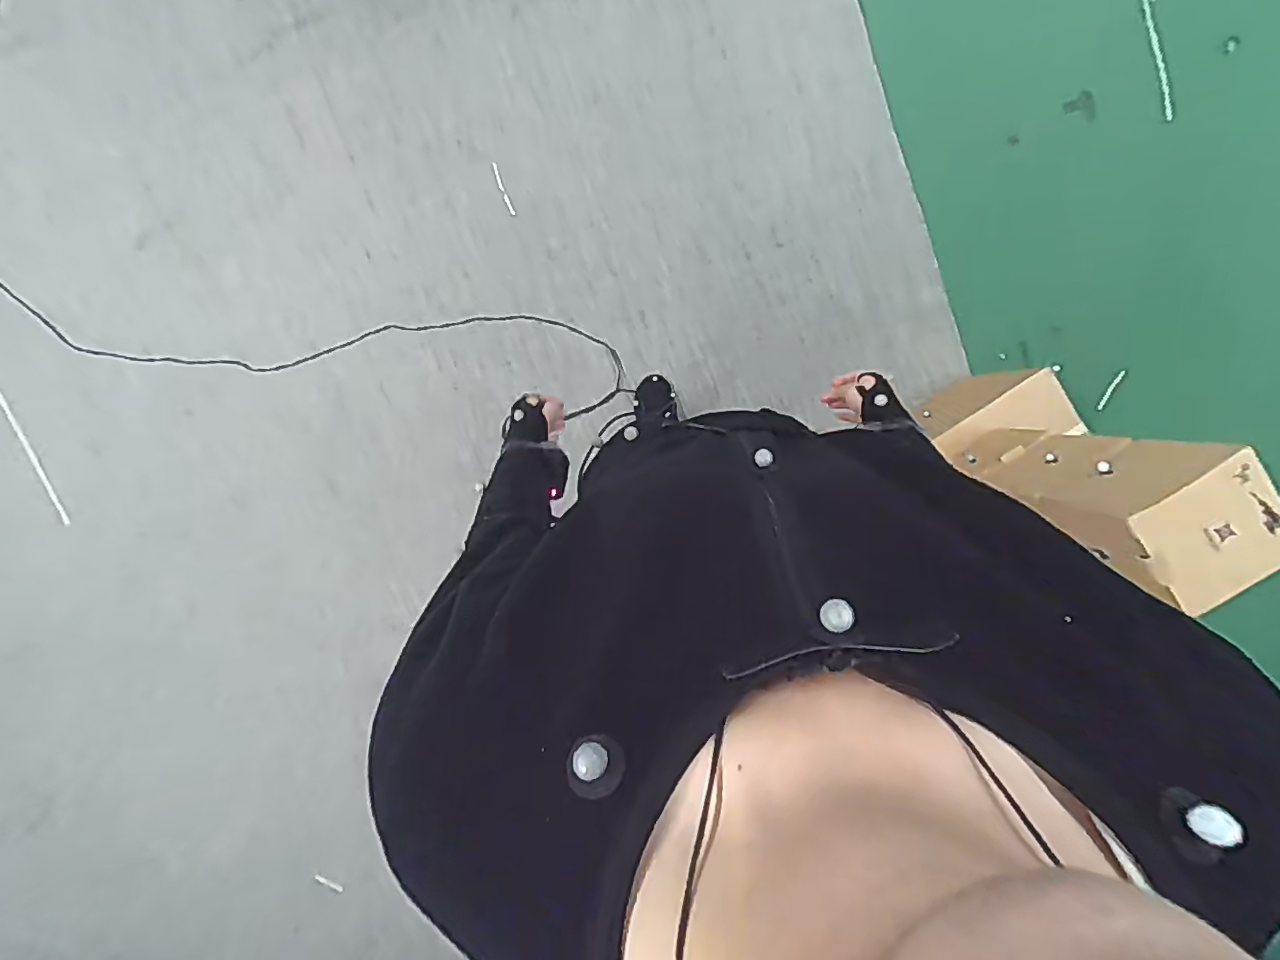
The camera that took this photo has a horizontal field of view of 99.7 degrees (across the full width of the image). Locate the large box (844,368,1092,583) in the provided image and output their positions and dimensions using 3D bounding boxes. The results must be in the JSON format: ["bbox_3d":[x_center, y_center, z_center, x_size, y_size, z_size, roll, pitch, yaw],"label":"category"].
[{"bbox_3d":[0.796,-0.018,1.327,0.408,0.320,0.320,-34,96,3],"label":"large box"}]

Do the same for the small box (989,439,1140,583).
[{"bbox_3d":[0.744,0.044,0.925,0.179,0.176,0.168,-35,94,4],"label":"small box"}]

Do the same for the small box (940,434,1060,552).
[{"bbox_3d":[0.749,0.022,1.087,0.168,0.176,0.179,-34,95,5],"label":"small box"}]

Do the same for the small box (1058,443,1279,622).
[{"bbox_3d":[0.743,0.063,0.762,0.179,0.176,0.168,-34,95,6],"label":"small box"}]
